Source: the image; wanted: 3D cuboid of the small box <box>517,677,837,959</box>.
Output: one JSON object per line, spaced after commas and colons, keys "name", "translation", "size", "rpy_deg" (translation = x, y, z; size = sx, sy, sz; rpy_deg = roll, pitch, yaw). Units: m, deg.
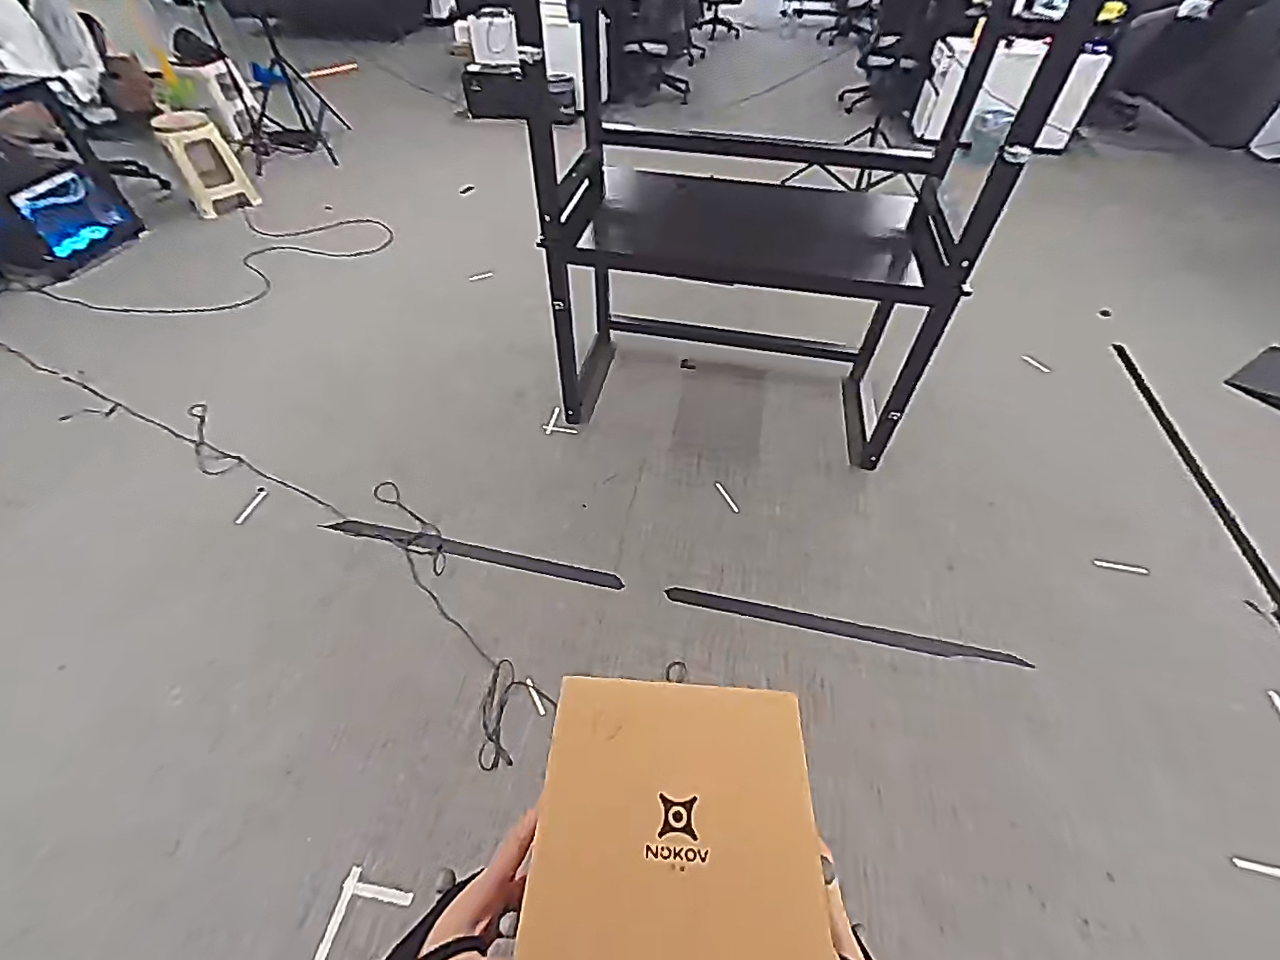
{"name": "small box", "translation": [0.020, 0.261, 0.371], "size": [0.168, 0.176, 0.179], "rpy_deg": [3, 44, 1]}
